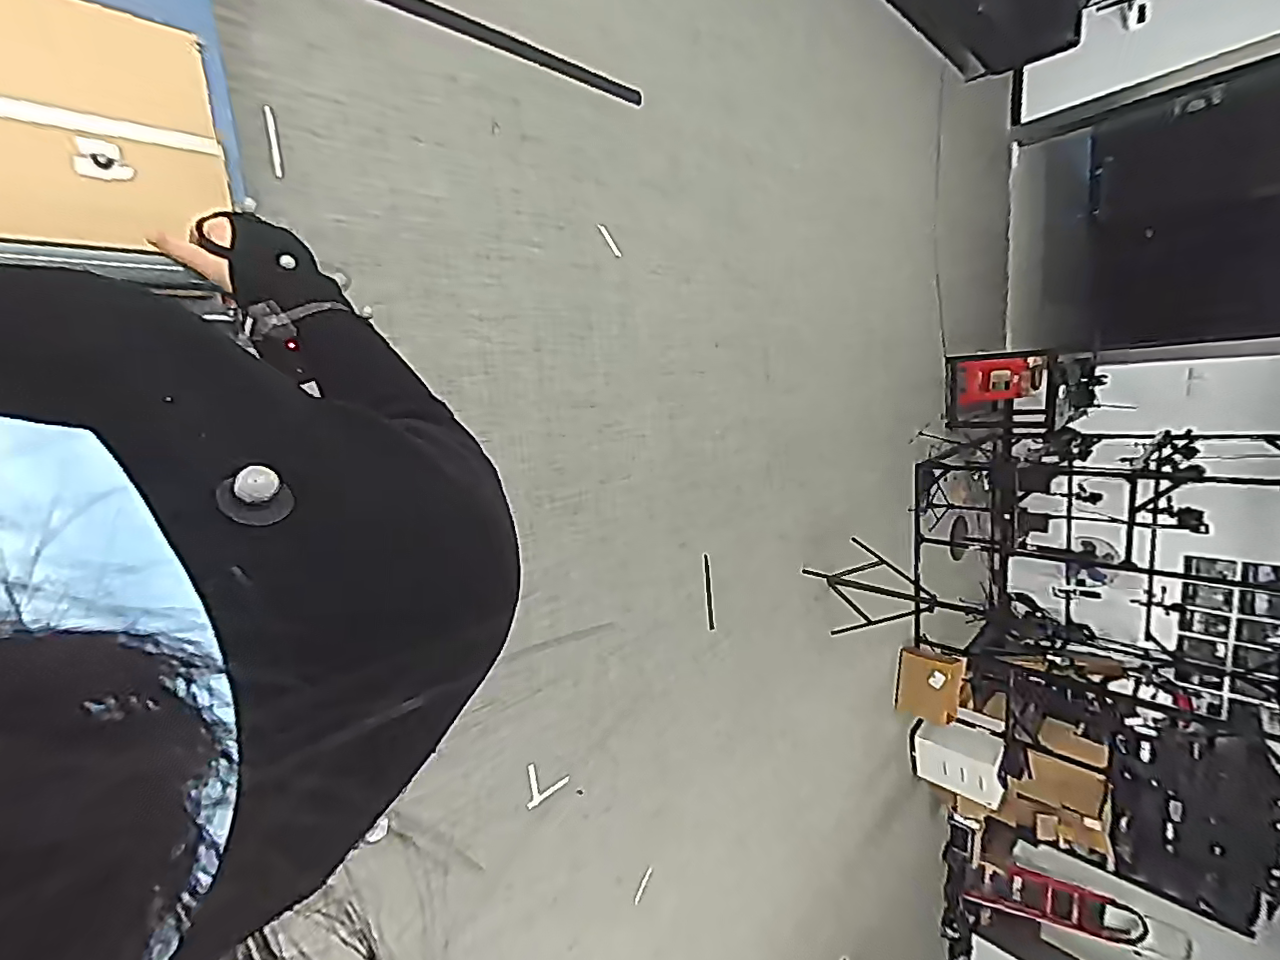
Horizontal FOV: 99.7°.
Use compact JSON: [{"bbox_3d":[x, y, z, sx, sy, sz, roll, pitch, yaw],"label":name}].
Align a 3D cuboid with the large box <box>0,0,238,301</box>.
[{"bbox_3d":[-0.875,-0.447,0.774,0.408,0.320,0.320,-14,104,-44],"label":"large box"}]
